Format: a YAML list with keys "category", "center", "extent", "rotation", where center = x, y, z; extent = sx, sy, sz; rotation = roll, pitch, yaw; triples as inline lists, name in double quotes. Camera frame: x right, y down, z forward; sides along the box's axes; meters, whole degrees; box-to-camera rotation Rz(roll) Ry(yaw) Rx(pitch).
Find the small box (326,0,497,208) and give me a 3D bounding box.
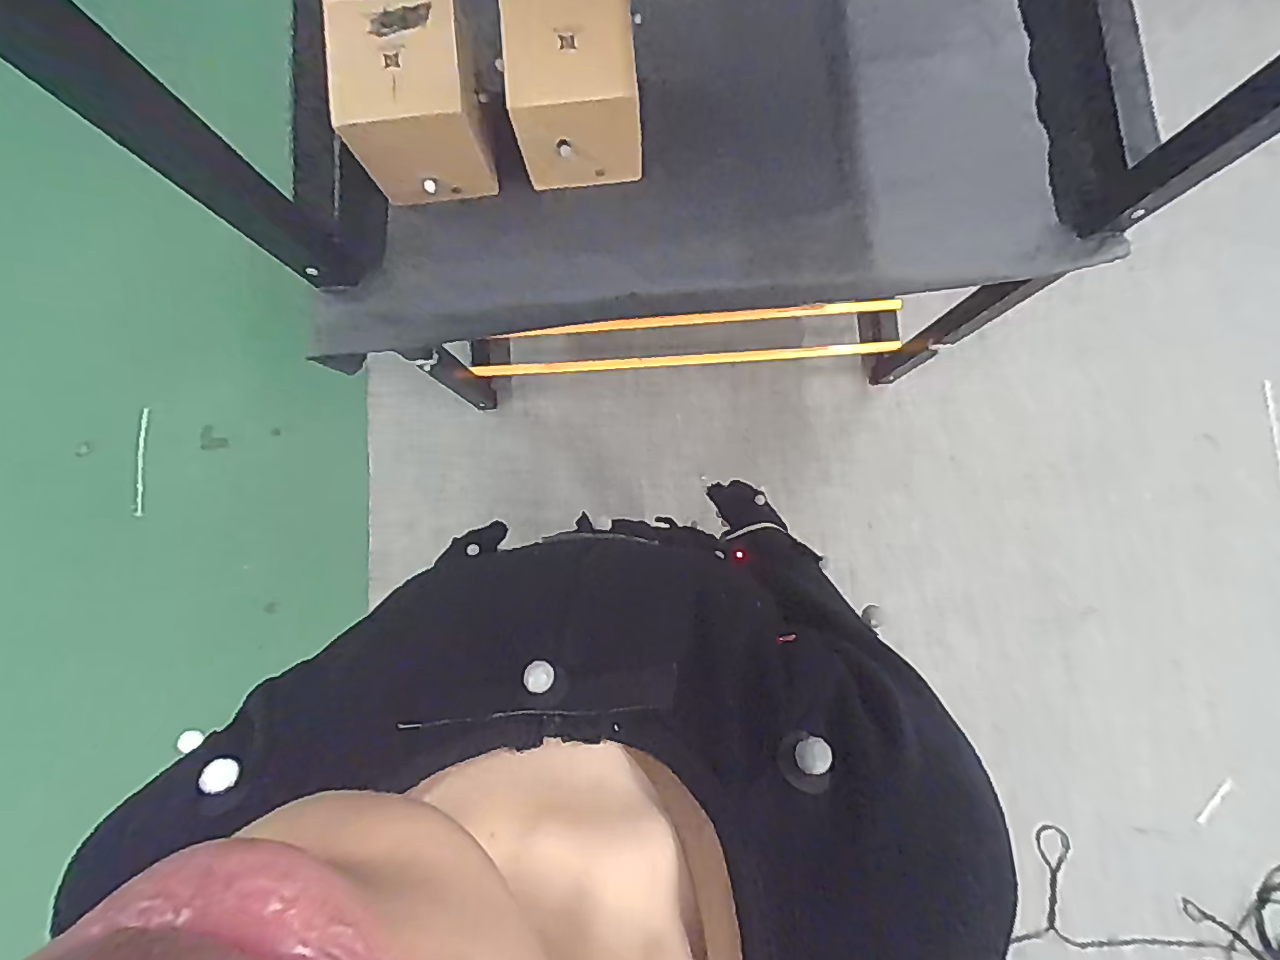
- category: "small box"
  center: [-0.307, -0.516, 0.754]
  extent: [0.168, 0.176, 0.179]
  rotation: [-6, 84, 1]
